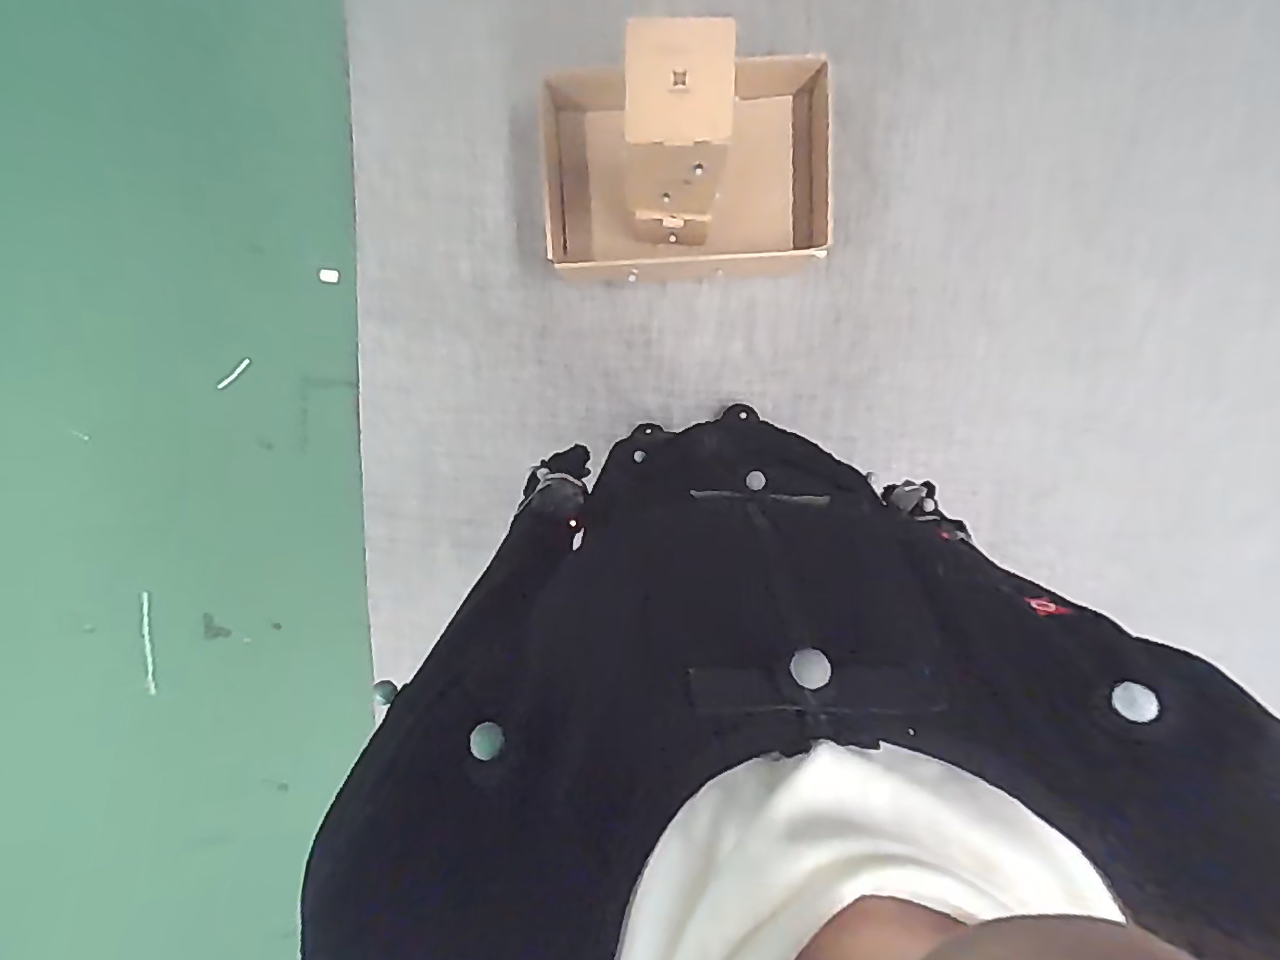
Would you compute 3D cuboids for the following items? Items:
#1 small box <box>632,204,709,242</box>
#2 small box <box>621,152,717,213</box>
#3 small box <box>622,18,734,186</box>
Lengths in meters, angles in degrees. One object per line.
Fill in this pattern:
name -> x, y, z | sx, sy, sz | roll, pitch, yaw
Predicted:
small box -> 0.074, -0.649, 1.214 | 0.168, 0.176, 0.179 | 4, 98, 1
small box -> 0.064, -0.638, 1.050 | 0.179, 0.176, 0.168 | 7, 97, 2
small box -> 0.058, -0.608, 0.891 | 0.168, 0.176, 0.179 | 1, 96, 0
